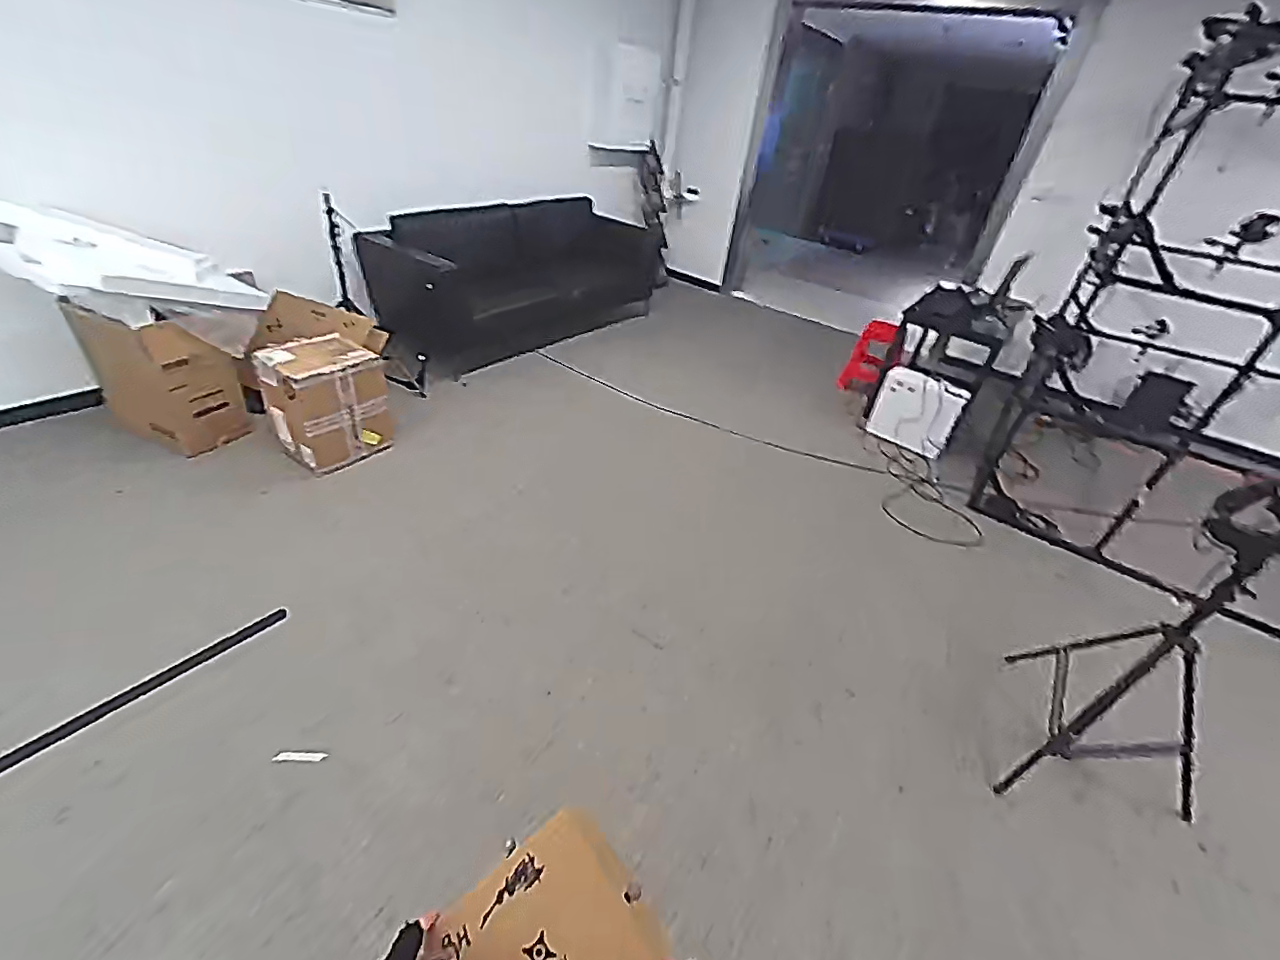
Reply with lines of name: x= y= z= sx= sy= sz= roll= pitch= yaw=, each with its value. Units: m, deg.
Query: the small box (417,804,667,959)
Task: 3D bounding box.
small box: x=-0.083 y=0.459 z=0.546 sx=0.168 sy=0.176 sz=0.179 roll=-36 pitch=66 yaw=-18
